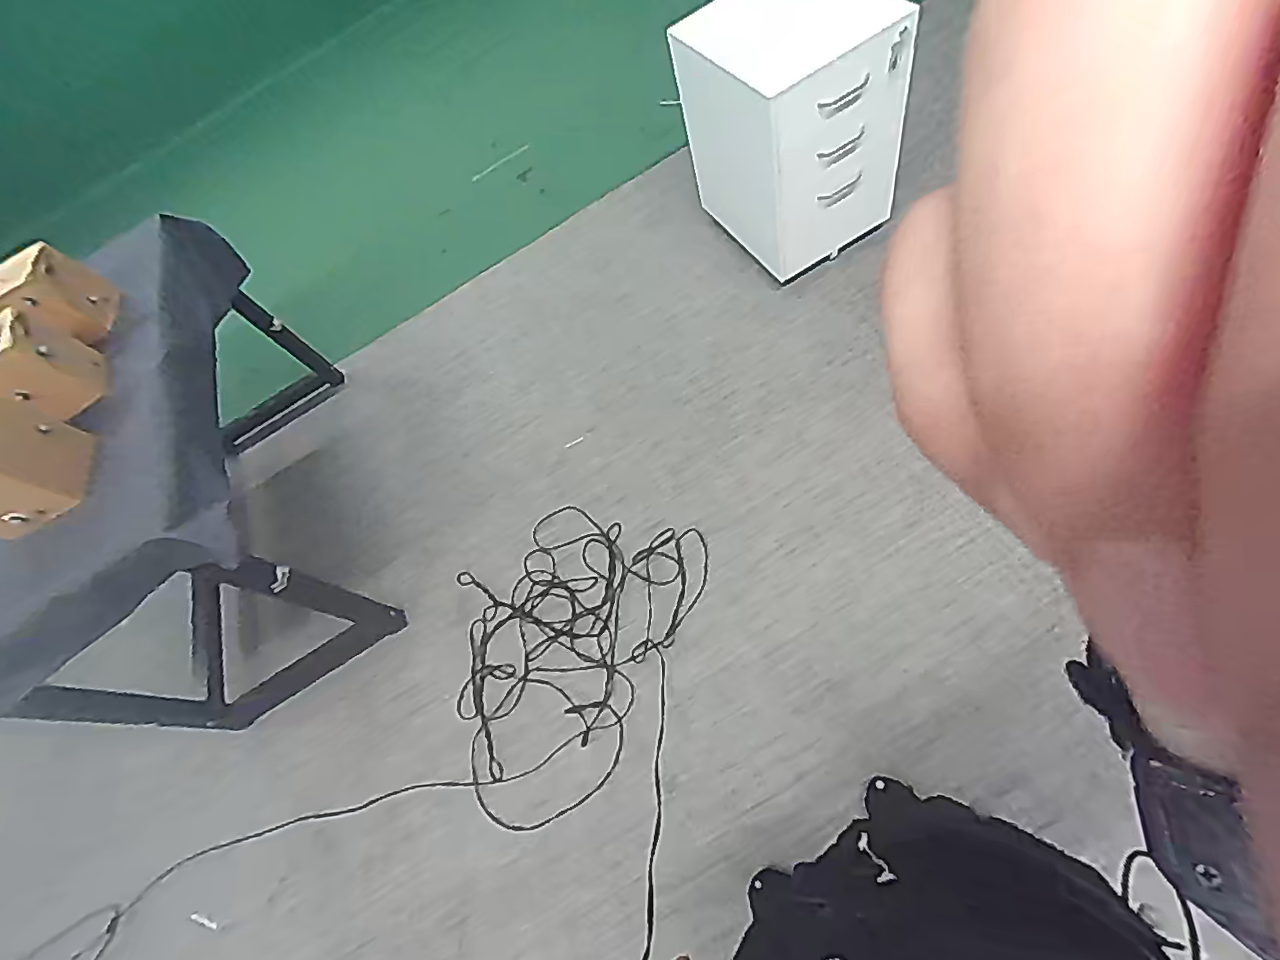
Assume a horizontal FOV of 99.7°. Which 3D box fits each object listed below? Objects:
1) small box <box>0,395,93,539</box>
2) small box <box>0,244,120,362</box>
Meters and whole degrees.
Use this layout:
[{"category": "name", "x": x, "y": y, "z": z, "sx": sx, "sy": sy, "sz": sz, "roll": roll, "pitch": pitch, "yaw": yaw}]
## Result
[{"category": "small box", "x": -1.183, "y": -0.019, "z": 1.005, "sx": 0.168, "sy": 0.176, "sz": 0.179, "roll": -29, "pitch": 59, "yaw": 3}, {"category": "small box", "x": -1.412, "y": -0.414, "z": 1.289, "sx": 0.179, "sy": 0.176, "sz": 0.168, "roll": -27, "pitch": 58, "yaw": 2}]
